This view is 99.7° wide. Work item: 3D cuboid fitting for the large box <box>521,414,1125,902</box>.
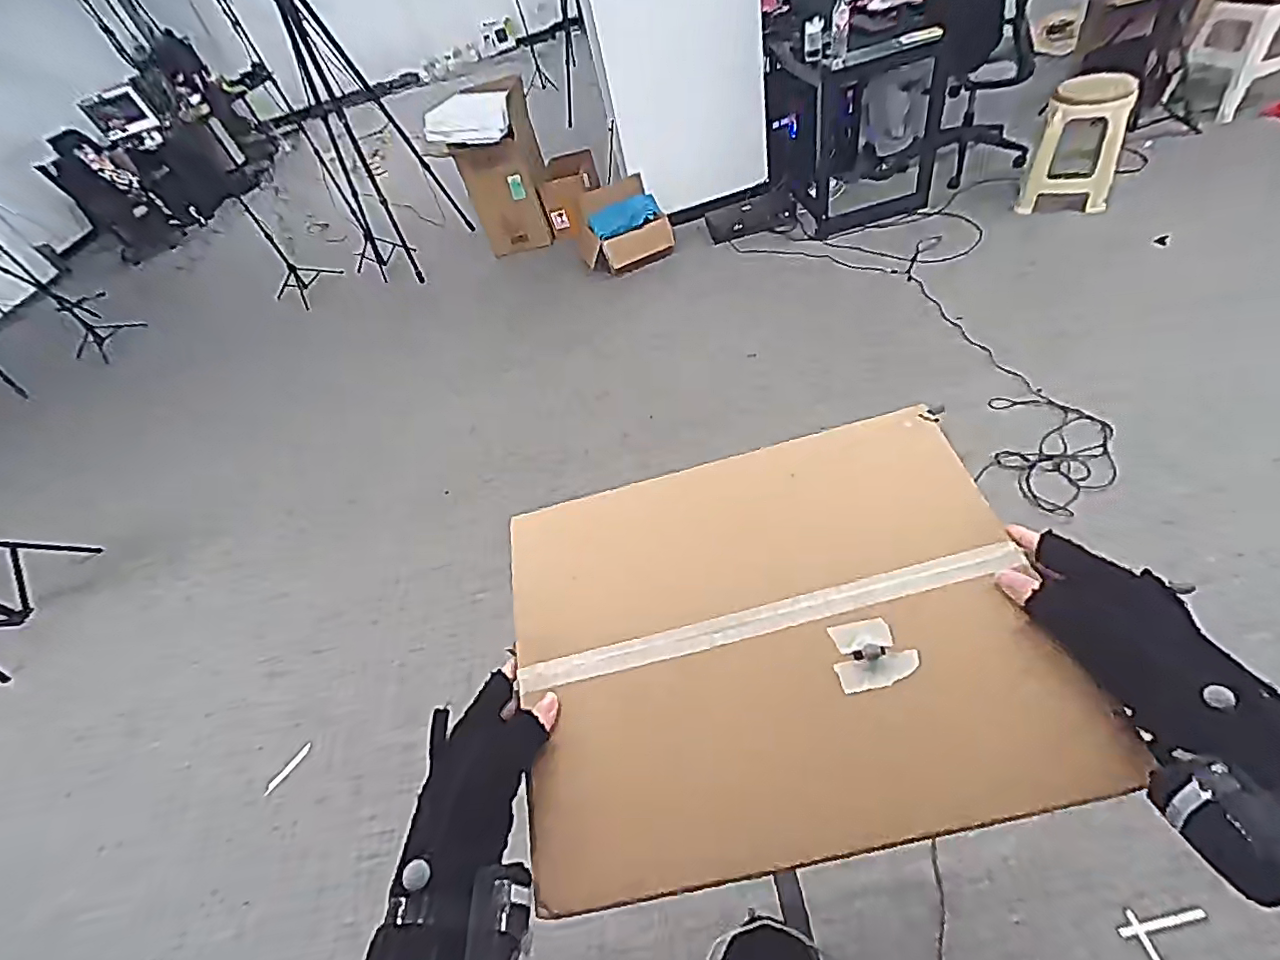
[{"bbox_3d":[0.128,0.192,0.567,0.408,0.320,0.320,-16,57,4],"label":"large box"}]
